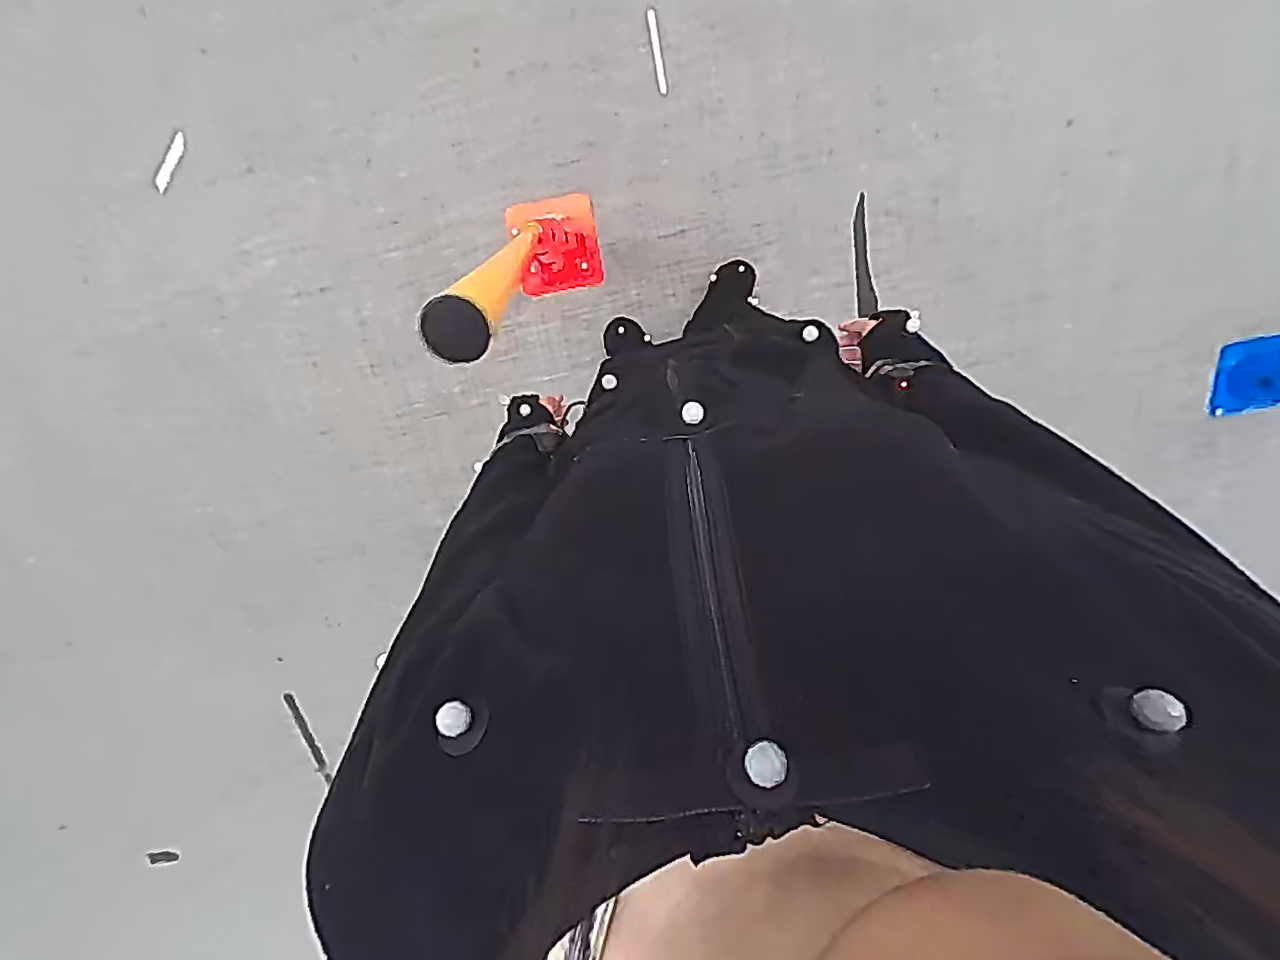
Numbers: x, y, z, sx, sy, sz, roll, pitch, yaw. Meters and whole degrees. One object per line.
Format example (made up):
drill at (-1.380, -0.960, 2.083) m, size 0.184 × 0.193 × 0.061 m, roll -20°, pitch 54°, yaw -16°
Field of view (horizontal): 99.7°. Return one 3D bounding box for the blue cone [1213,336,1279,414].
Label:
blue cone at (1.627, -0.221, 1.272) m, size 0.193 × 0.380 × 0.192 m, roll -9°, pitch 111°, yaw 1°

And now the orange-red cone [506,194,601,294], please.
orange-red cone at (-0.192, -0.483, 1.085) m, size 0.198 × 0.360 × 0.199 m, roll -9°, pitch 109°, yaw 1°
